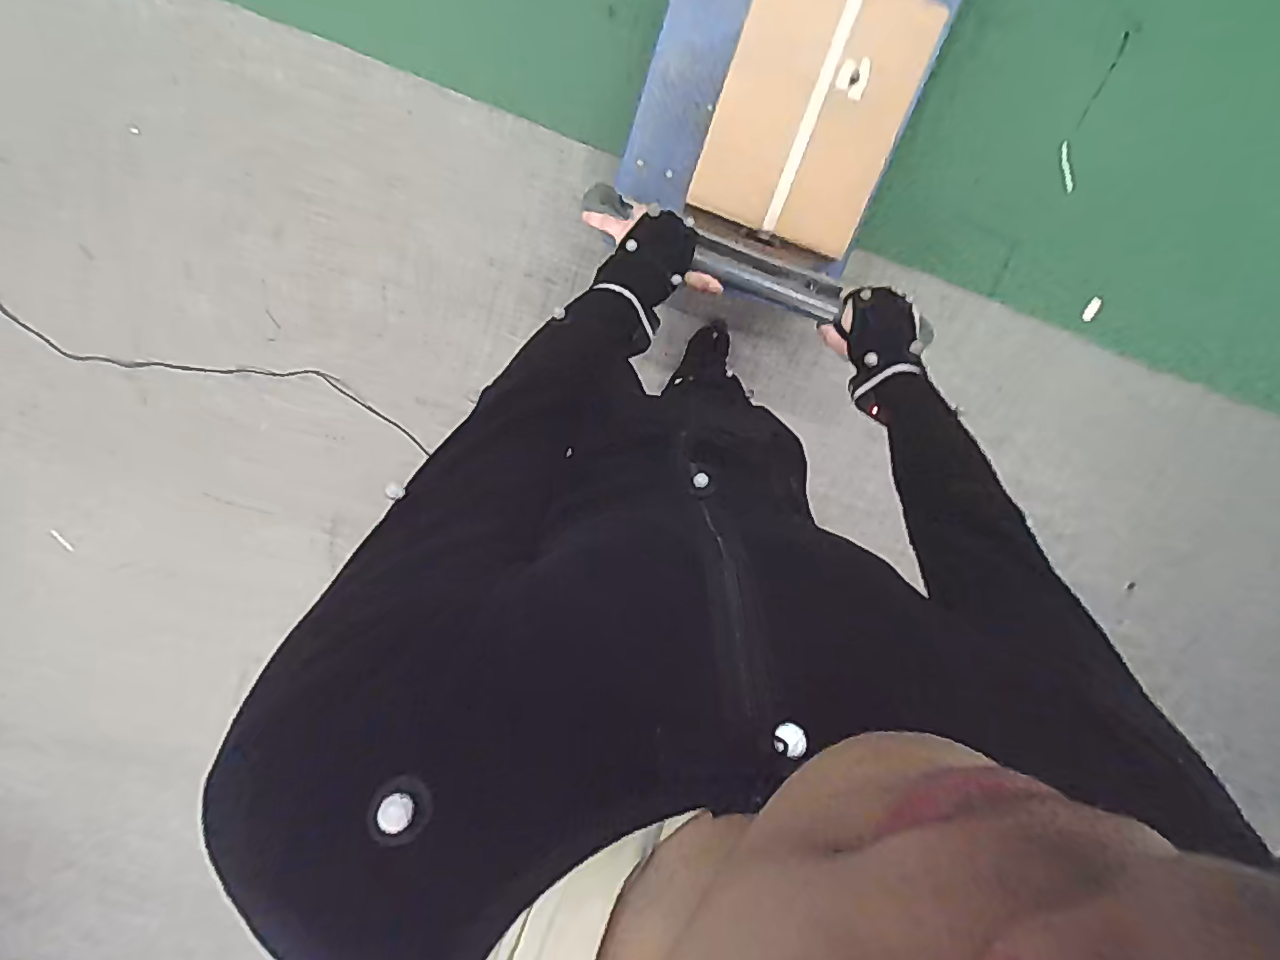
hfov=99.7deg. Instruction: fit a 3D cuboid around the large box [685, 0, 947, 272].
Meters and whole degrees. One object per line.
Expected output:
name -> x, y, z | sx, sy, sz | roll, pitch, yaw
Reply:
large box -> 0.300, -0.669, 1.067 | 0.320, 0.320, 0.408 | 19, 107, -5
